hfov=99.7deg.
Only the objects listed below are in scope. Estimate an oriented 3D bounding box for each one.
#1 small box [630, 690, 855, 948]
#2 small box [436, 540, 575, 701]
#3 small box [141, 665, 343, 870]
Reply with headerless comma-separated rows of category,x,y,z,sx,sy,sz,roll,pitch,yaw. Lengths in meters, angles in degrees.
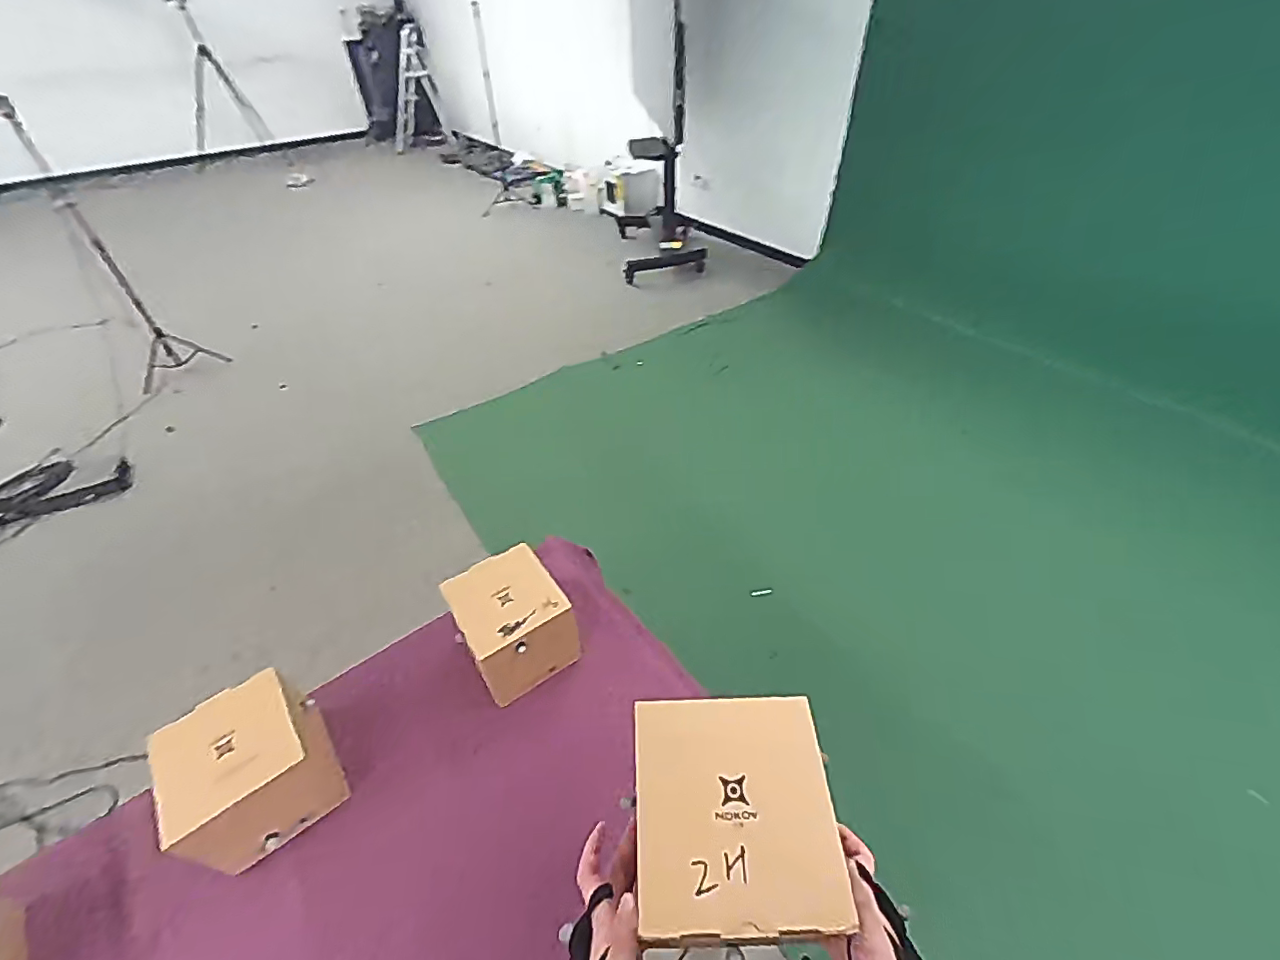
small box,0.076,0.315,0.504,0.168,0.176,0.179,-2,47,1
small box,-0.230,0.245,0.948,0.168,0.176,0.179,-28,48,-24
small box,-0.566,0.414,0.781,0.168,0.176,0.179,-30,51,-26
